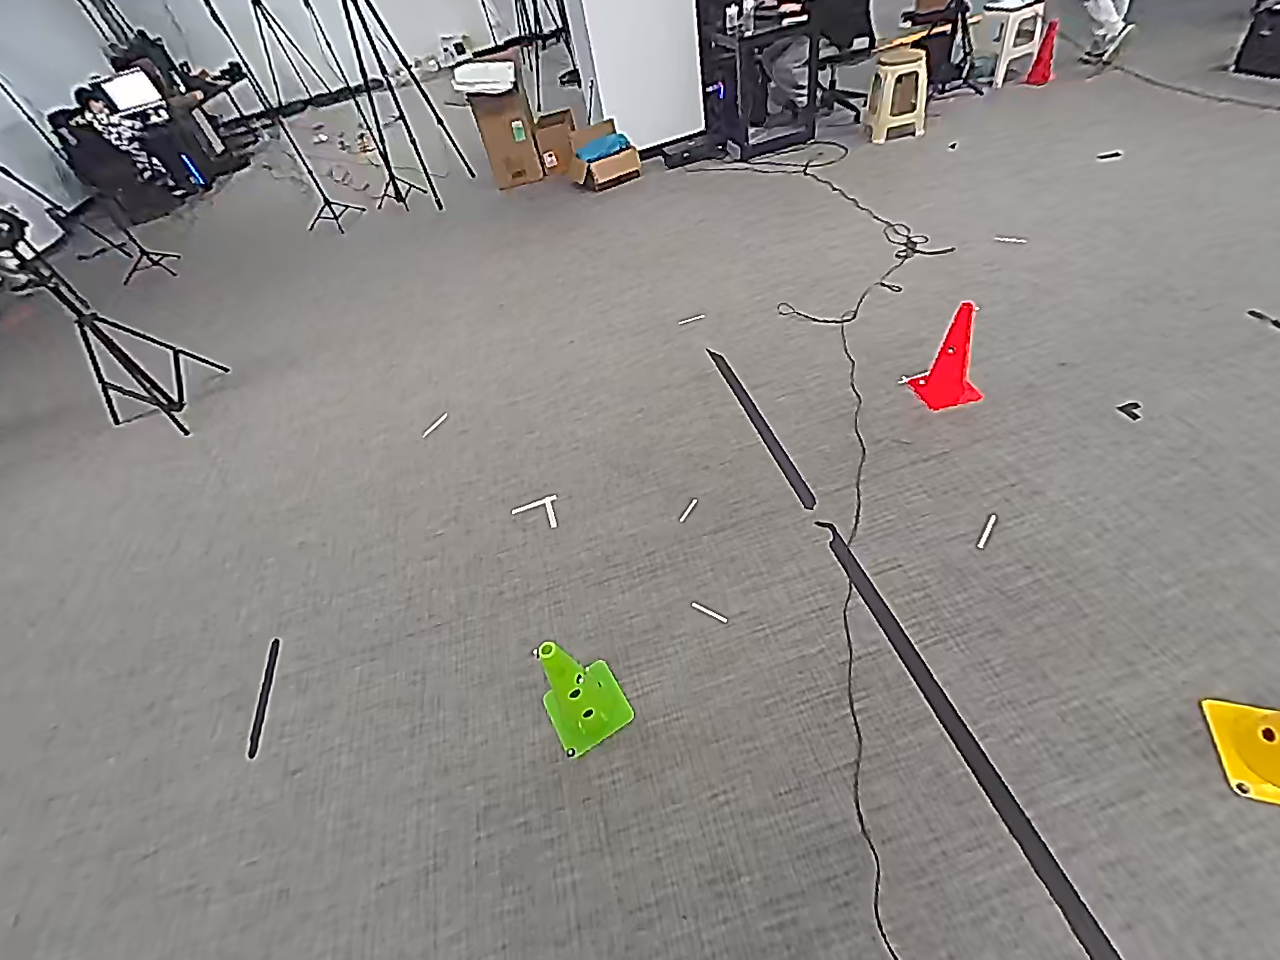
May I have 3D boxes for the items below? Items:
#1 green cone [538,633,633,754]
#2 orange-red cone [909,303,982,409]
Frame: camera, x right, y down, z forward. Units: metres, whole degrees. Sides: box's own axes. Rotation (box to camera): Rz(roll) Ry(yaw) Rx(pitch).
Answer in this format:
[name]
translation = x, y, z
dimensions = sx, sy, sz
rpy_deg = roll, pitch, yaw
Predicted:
[green cone]
translation = -0.172, 0.489, 1.341
dimensions = 0.200, 0.368, 0.202
rpy_deg = -29, 46, -14
[orange-red cone]
translation = 1.111, -0.455, 1.902
dimensions = 0.198, 0.360, 0.199
rpy_deg = -13, 47, 3
